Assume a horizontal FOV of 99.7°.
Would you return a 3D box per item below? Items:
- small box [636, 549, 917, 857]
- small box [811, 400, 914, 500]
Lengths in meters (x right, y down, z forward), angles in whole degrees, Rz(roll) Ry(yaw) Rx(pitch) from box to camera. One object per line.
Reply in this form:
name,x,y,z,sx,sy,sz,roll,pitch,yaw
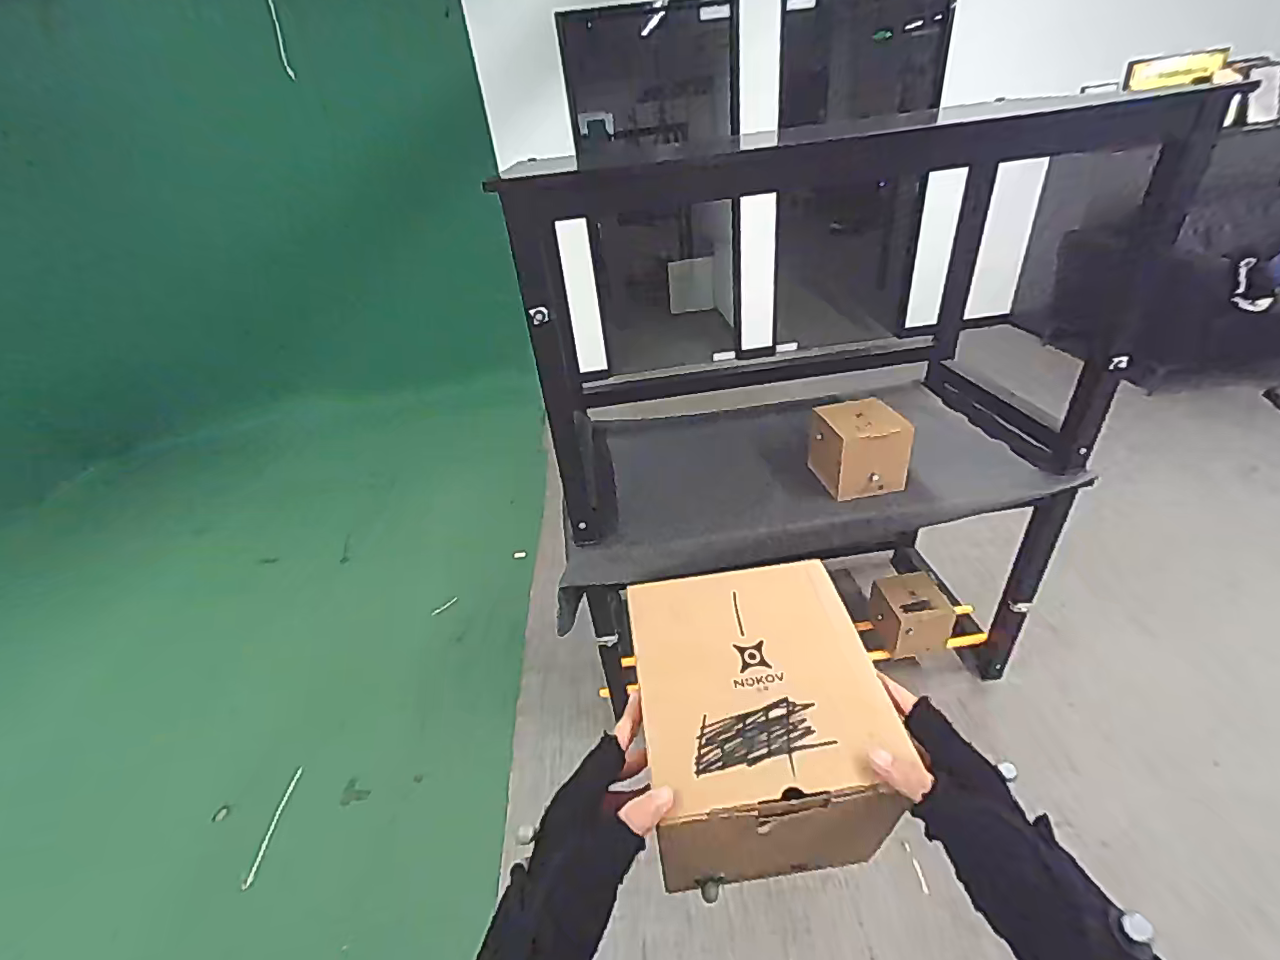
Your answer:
small box,0.091,0.184,0.446,0.168,0.176,0.179,-7,40,-3
small box,0.523,-0.073,1.301,0.168,0.176,0.179,-10,32,-3
